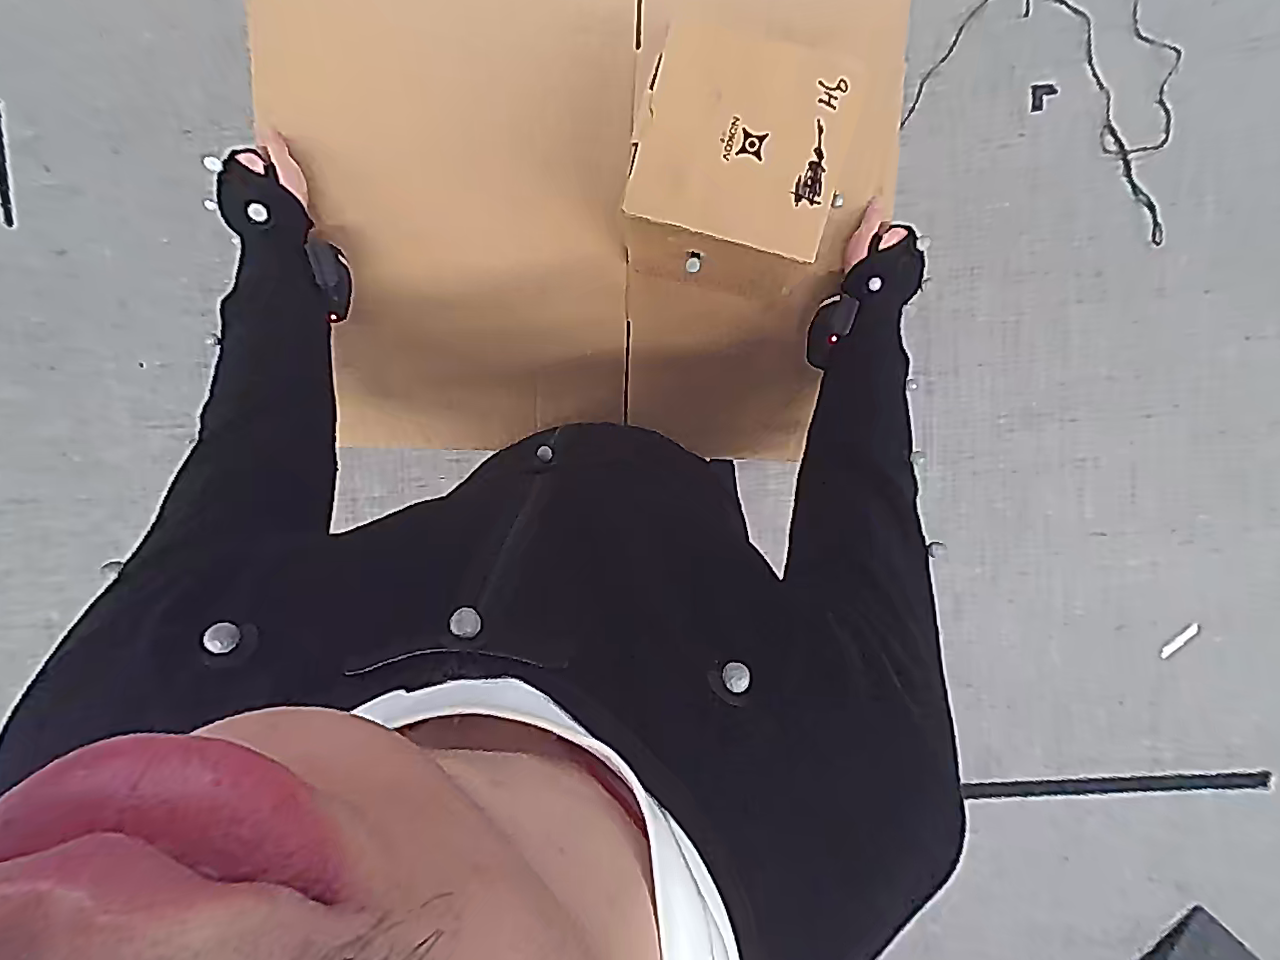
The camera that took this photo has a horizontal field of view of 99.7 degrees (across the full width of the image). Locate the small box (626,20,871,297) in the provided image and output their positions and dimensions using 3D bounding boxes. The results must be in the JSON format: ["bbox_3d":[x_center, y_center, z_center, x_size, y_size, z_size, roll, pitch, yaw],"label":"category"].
[{"bbox_3d":[0.096,-0.300,0.545,0.179,0.176,0.168,16,96,2],"label":"small box"}]
